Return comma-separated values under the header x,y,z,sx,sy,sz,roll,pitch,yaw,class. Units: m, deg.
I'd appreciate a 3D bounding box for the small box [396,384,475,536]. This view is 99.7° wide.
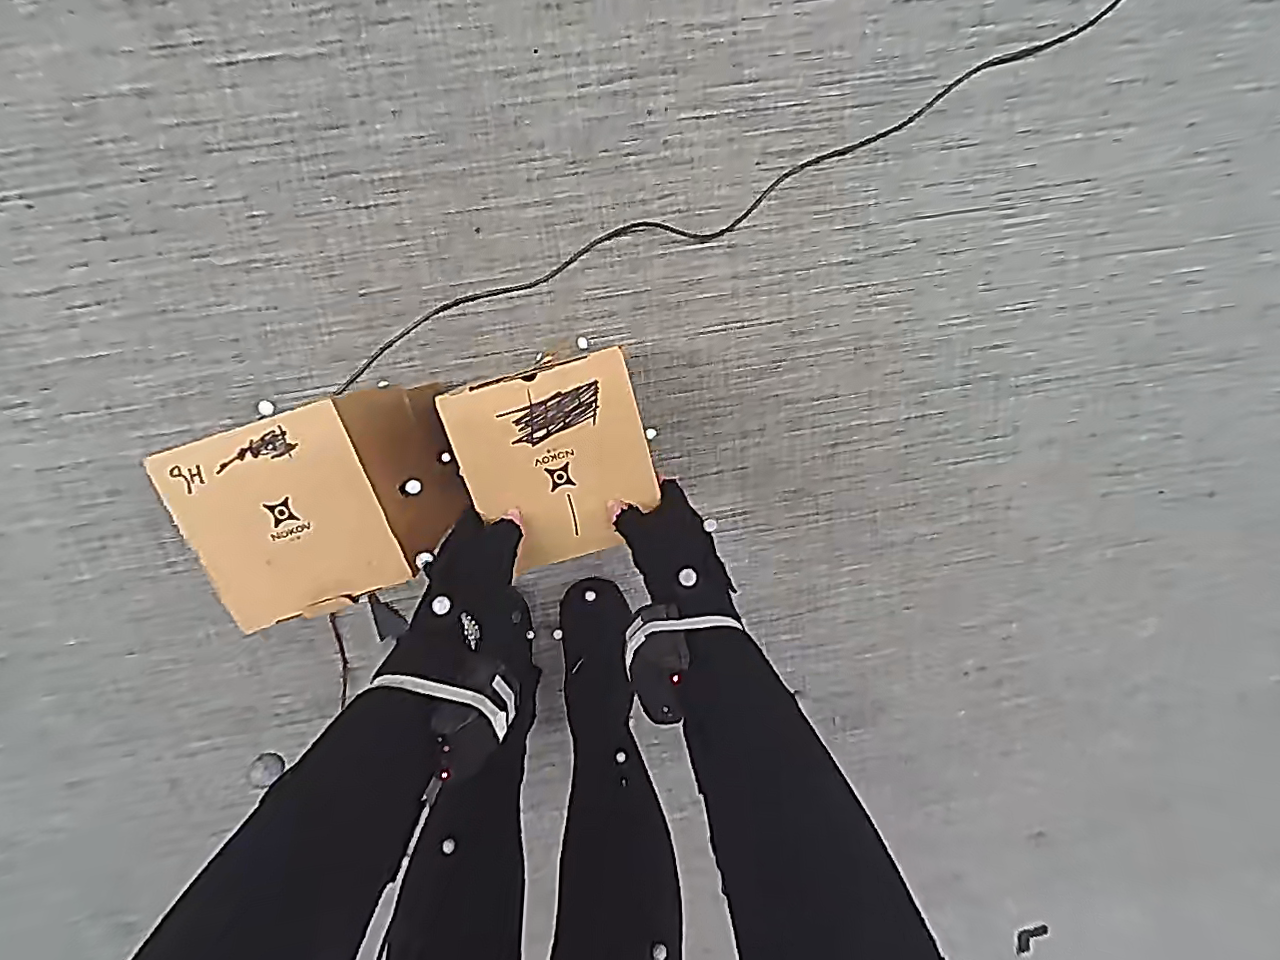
x,y,z,sx,sy,sz,roll,pitch,yaw,class
-0.328,-0.019,0.710,0.168,0.176,0.179,-14,105,-3,small box

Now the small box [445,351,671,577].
x,y,z,sx,sy,sz,roll,pitch,yaw,class
-0.077,-0.029,0.560,0.168,0.176,0.179,-15,106,-1,small box

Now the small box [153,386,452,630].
x,y,z,sx,sy,sz,roll,pitch,yaw,class
-0.312,0.016,0.550,0.168,0.176,0.179,-18,106,-2,small box
